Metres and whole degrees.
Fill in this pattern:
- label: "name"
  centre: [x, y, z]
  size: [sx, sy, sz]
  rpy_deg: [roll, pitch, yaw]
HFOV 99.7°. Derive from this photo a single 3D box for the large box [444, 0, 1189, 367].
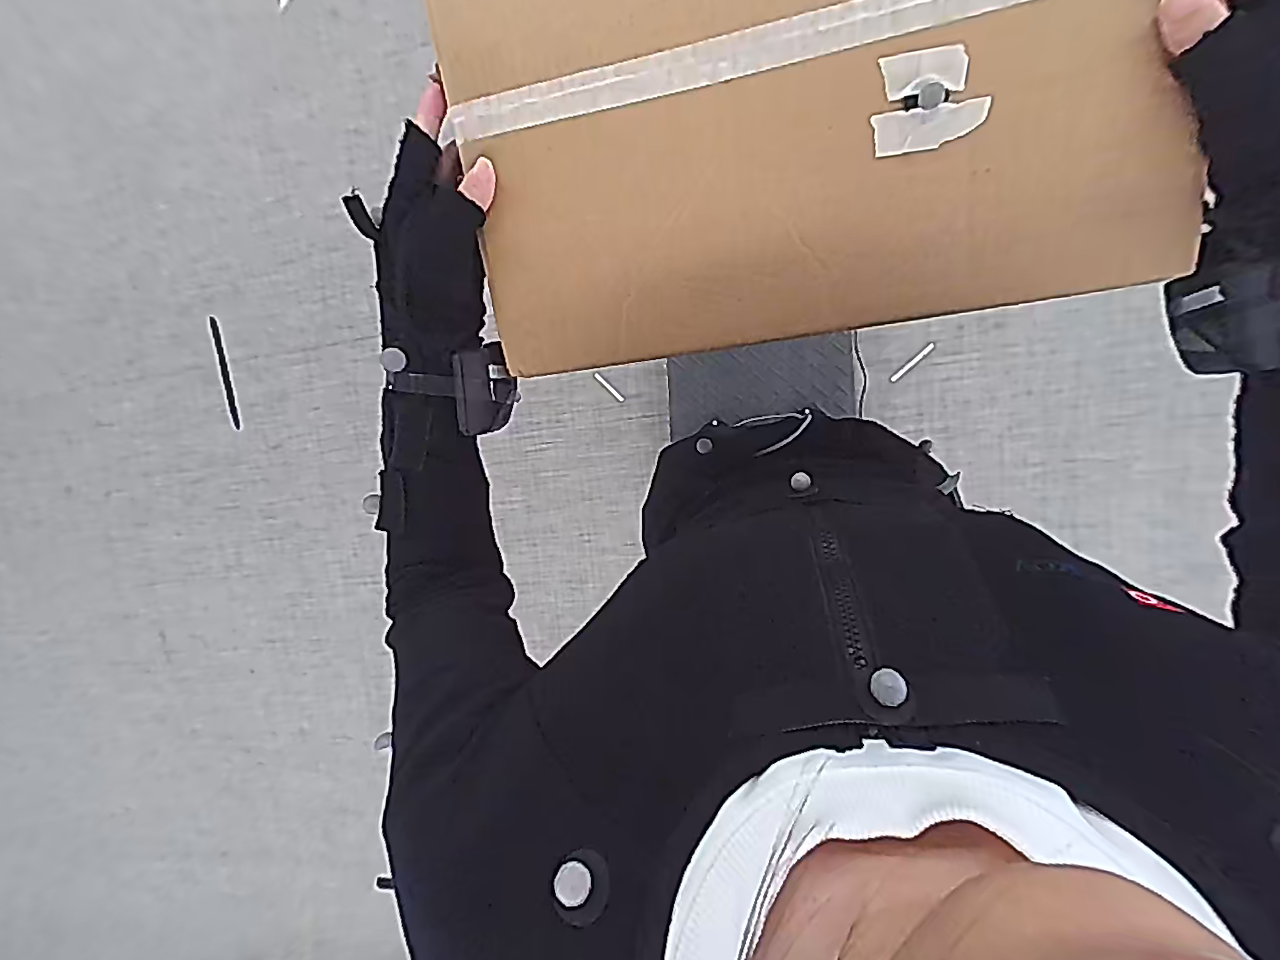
- label: "large box"
  centre: [0.105, -0.289, 0.451]
  size: [0.408, 0.320, 0.320]
  rpy_deg: [-7, 105, 10]
